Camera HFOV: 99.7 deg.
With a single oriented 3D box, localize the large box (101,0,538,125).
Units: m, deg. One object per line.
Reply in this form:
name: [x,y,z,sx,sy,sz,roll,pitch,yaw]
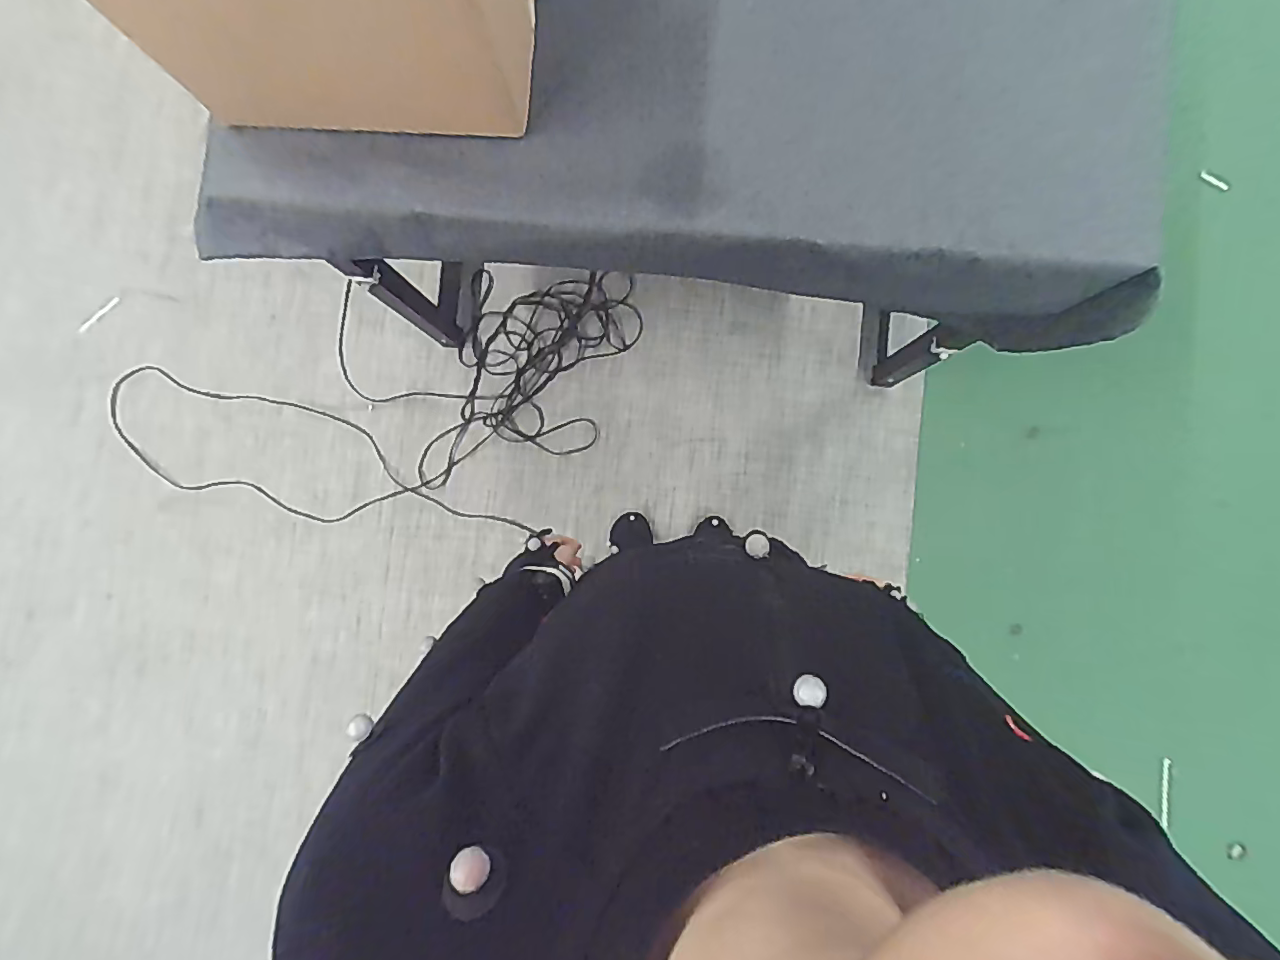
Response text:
large box: [-0.333,-0.615,0.553,0.408,0.320,0.320,3,88,1]
